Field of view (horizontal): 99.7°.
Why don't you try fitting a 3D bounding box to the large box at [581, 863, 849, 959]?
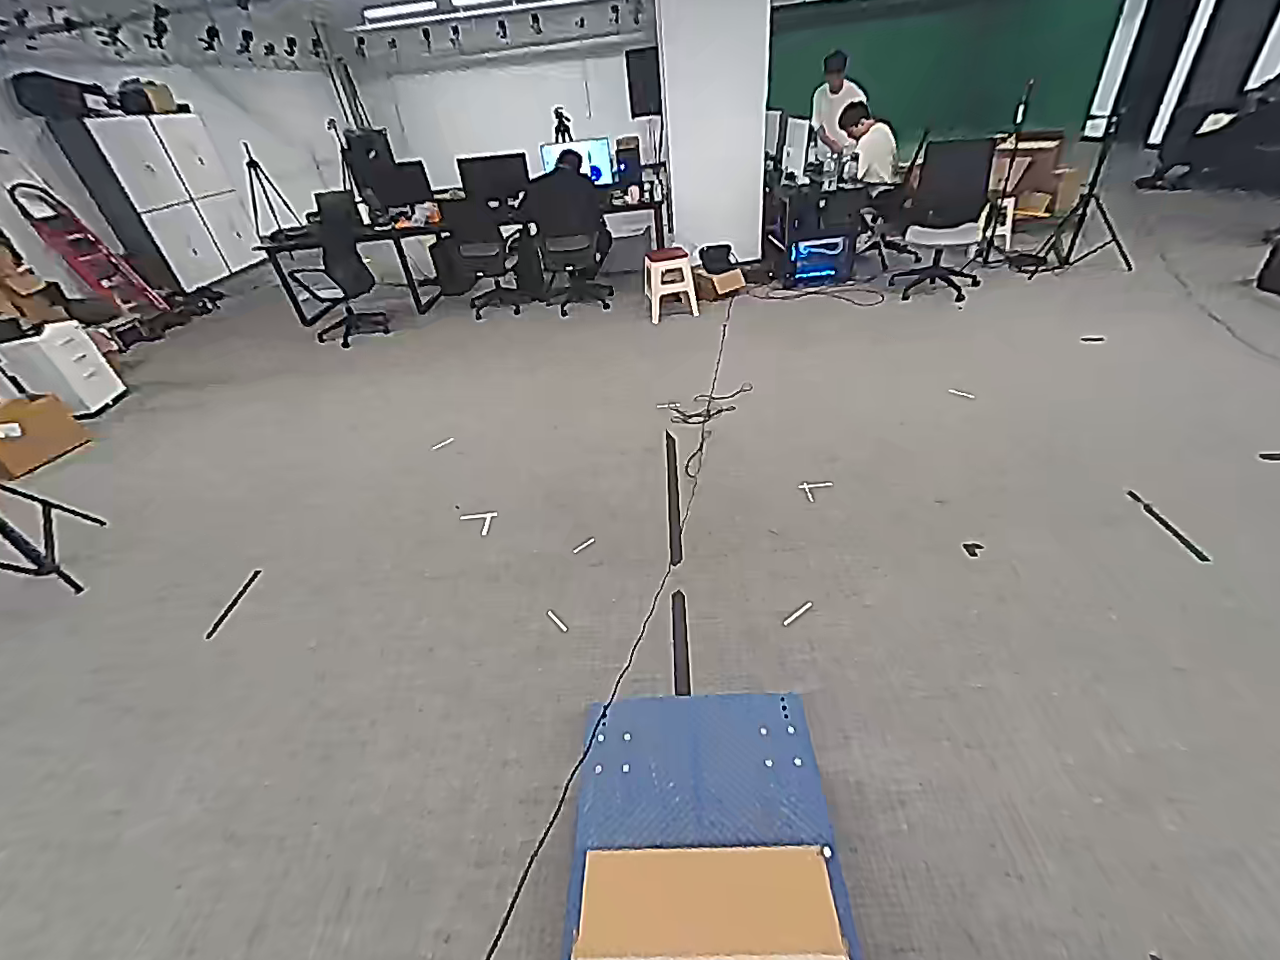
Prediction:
[{"bbox_3d":[0.120,0.852,0.854,0.408,0.320,0.320,-4,35,4],"label":"large box"}]
